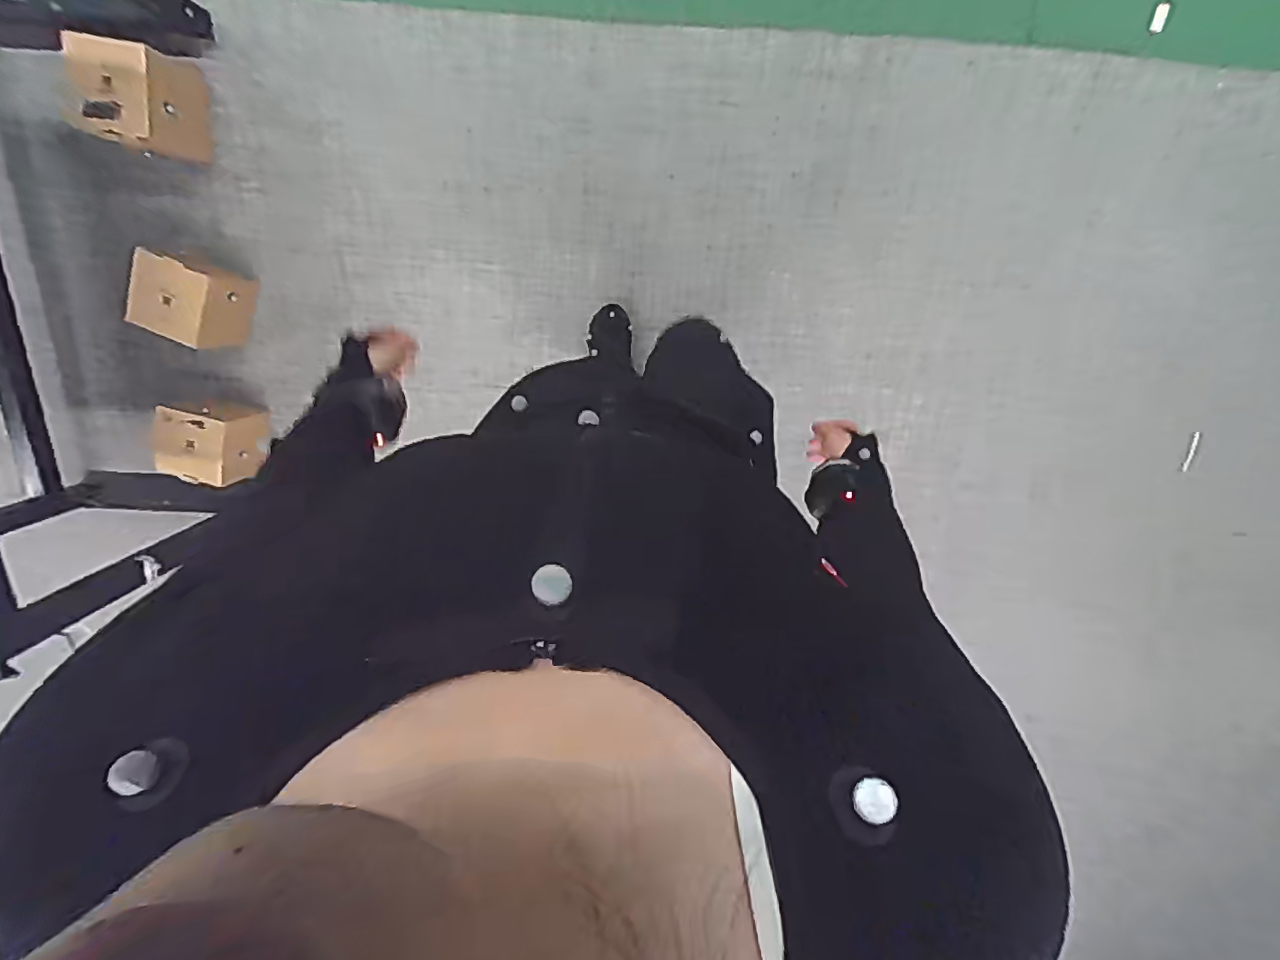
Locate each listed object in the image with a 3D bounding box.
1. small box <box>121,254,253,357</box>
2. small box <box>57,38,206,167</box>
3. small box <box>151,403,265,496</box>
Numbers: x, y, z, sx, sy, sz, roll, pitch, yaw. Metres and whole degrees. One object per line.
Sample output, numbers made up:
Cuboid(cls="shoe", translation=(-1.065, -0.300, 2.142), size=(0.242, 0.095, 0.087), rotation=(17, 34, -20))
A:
Cuboid(cls="small box", translation=(-1.069, -0.413, 1.288), size=(0.168, 0.176, 0.179), rotation=(23, 107, -6))
Cuboid(cls="small box", translation=(-1.082, -0.802, 1.168), size=(0.168, 0.176, 0.179), rotation=(8, 106, -3))
Cuboid(cls="small box", translation=(-1.102, -0.083, 1.390), size=(0.168, 0.176, 0.179), rotation=(15, 107, -4))
